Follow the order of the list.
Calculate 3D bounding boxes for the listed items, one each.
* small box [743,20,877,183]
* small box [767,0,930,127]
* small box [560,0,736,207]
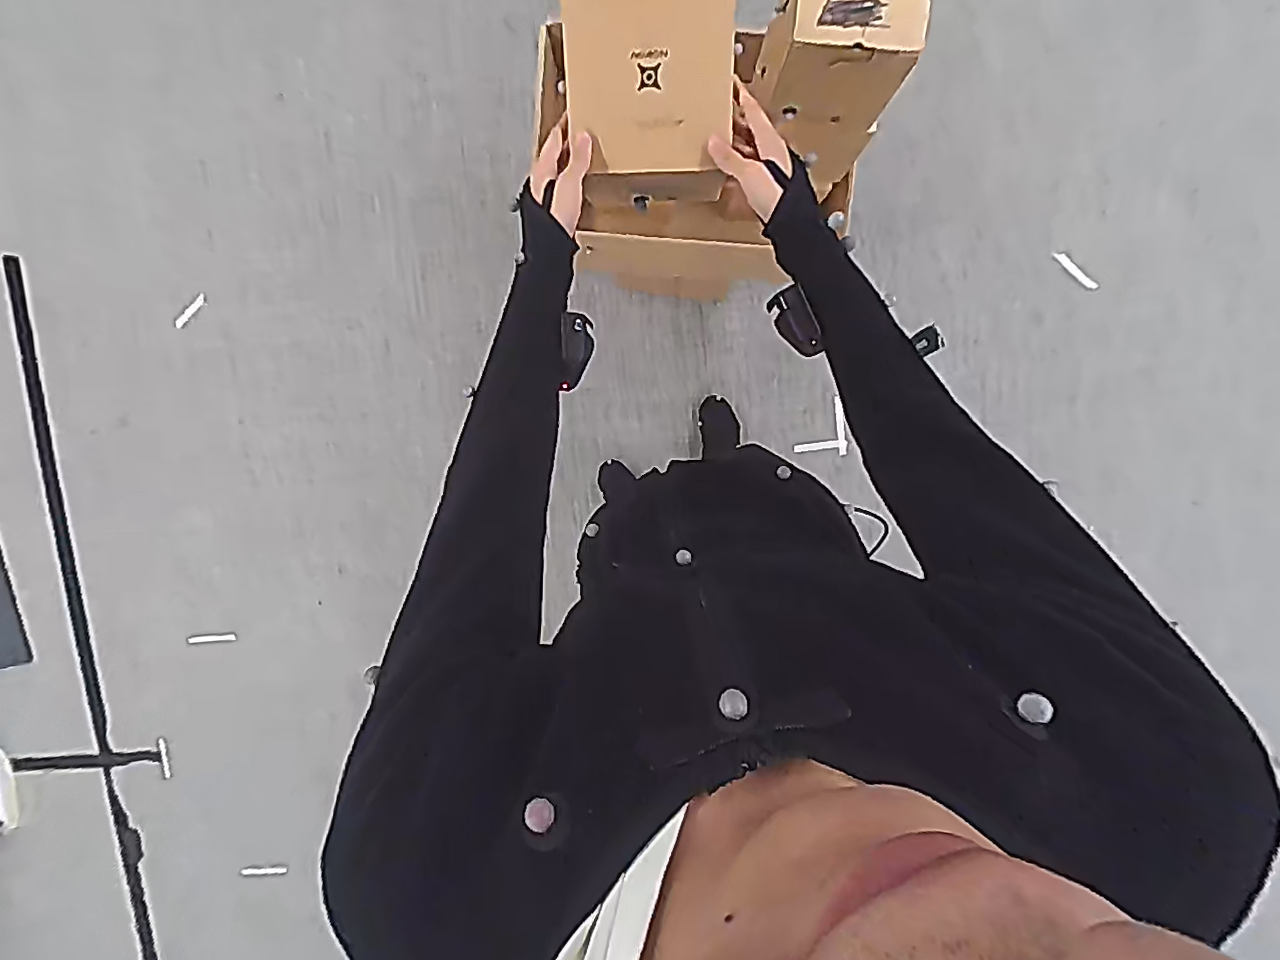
[{"bbox_3d":[0.280,-0.620,0.905,0.179,0.176,0.168,2,95,0],"label":"small box"},{"bbox_3d":[0.278,-0.621,0.739,0.168,0.176,0.179,6,94,0],"label":"small box"},{"bbox_3d":[0.010,-0.412,0.591,0.168,0.176,0.179,0,107,3],"label":"small box"}]
